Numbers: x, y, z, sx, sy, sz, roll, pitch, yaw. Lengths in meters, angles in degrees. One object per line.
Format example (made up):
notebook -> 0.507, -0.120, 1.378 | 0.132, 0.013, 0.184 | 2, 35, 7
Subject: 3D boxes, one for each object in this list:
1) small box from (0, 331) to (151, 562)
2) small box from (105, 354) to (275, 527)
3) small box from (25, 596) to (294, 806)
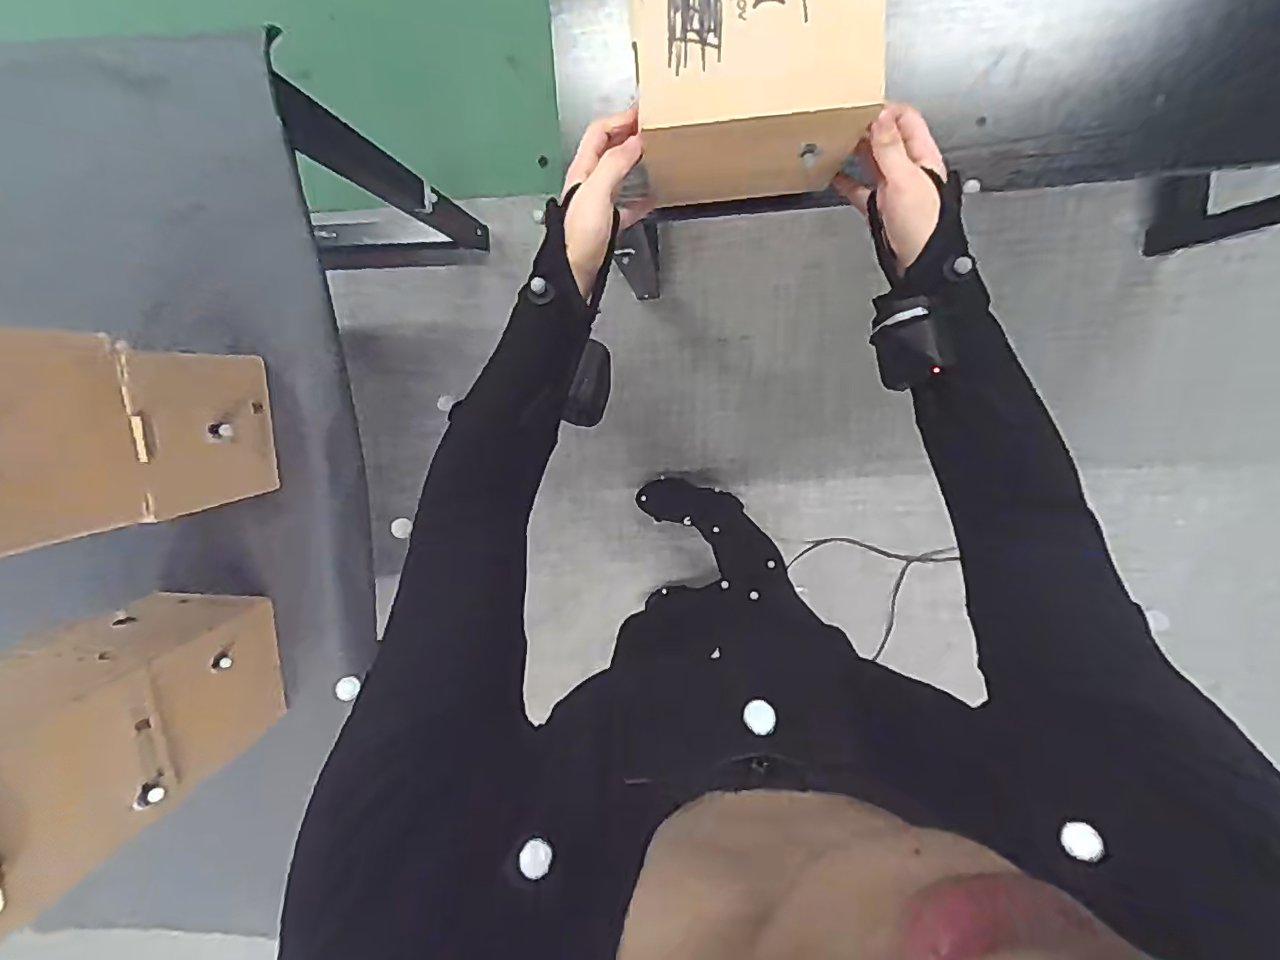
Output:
small box -> -0.557, -0.030, 0.435 | 0.168, 0.176, 0.179 | 0, 102, 7
small box -> -0.539, -0.053, 0.595 | 0.179, 0.176, 0.168 | 1, 102, 6
small box -> -0.565, 0.255, 0.661 | 0.168, 0.176, 0.179 | 1, 102, 7
